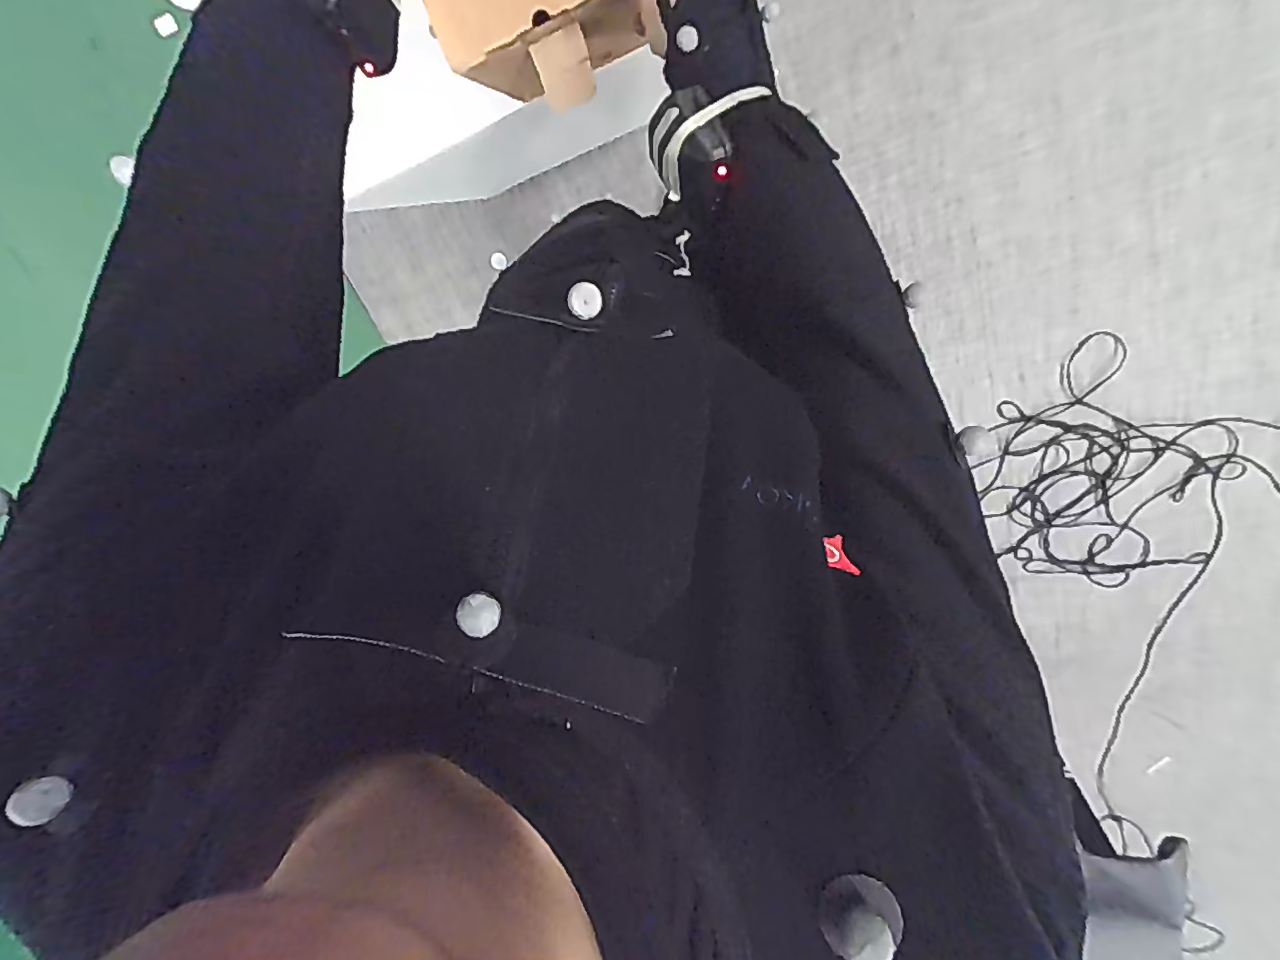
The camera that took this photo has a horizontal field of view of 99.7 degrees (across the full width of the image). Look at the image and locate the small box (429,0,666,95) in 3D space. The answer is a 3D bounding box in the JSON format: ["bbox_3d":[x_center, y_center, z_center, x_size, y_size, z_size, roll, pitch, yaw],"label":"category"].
[{"bbox_3d":[-0.085,-0.452,0.439,0.168,0.176,0.179,-14,115,17],"label":"small box"}]
